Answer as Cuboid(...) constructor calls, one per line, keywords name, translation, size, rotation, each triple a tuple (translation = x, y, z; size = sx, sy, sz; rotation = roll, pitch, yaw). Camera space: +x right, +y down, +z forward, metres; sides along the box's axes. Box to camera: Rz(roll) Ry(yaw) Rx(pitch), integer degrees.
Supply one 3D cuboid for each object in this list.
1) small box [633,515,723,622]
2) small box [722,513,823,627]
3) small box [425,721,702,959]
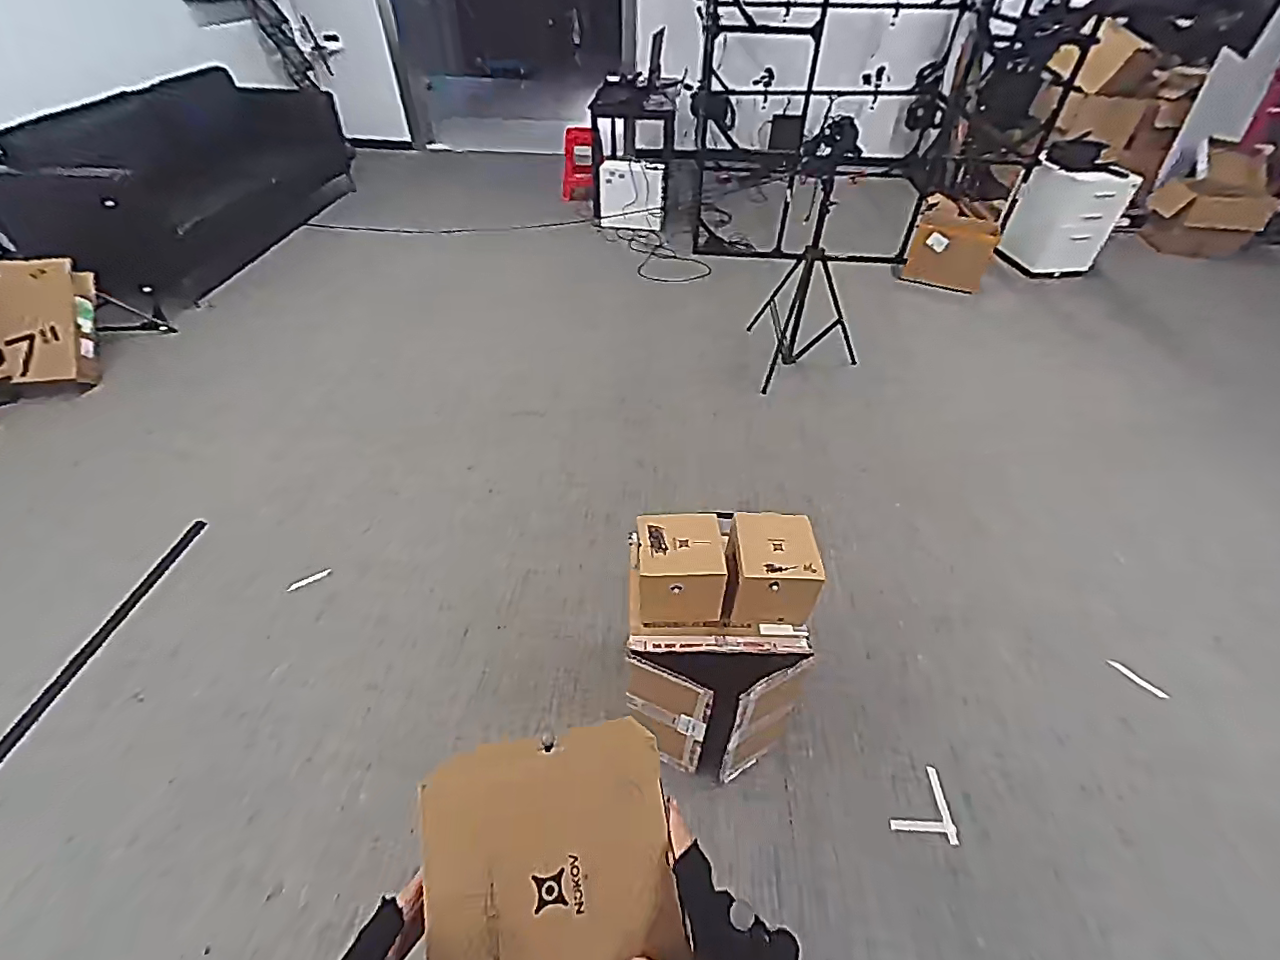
Cuboid(name="small box", translation=(0.077, 0.193, 1.166), size=(0.179, 0.176, 0.168), rotation=(-2, 43, -2))
Cuboid(name="small box", translation=(0.275, 0.195, 1.170), size=(0.168, 0.176, 0.179), rotation=(2, 42, -1))
Cuboid(name="small box", translation=(-0.065, 0.306, 0.448), size=(0.179, 0.176, 0.168), rotation=(-8, 70, -10))
